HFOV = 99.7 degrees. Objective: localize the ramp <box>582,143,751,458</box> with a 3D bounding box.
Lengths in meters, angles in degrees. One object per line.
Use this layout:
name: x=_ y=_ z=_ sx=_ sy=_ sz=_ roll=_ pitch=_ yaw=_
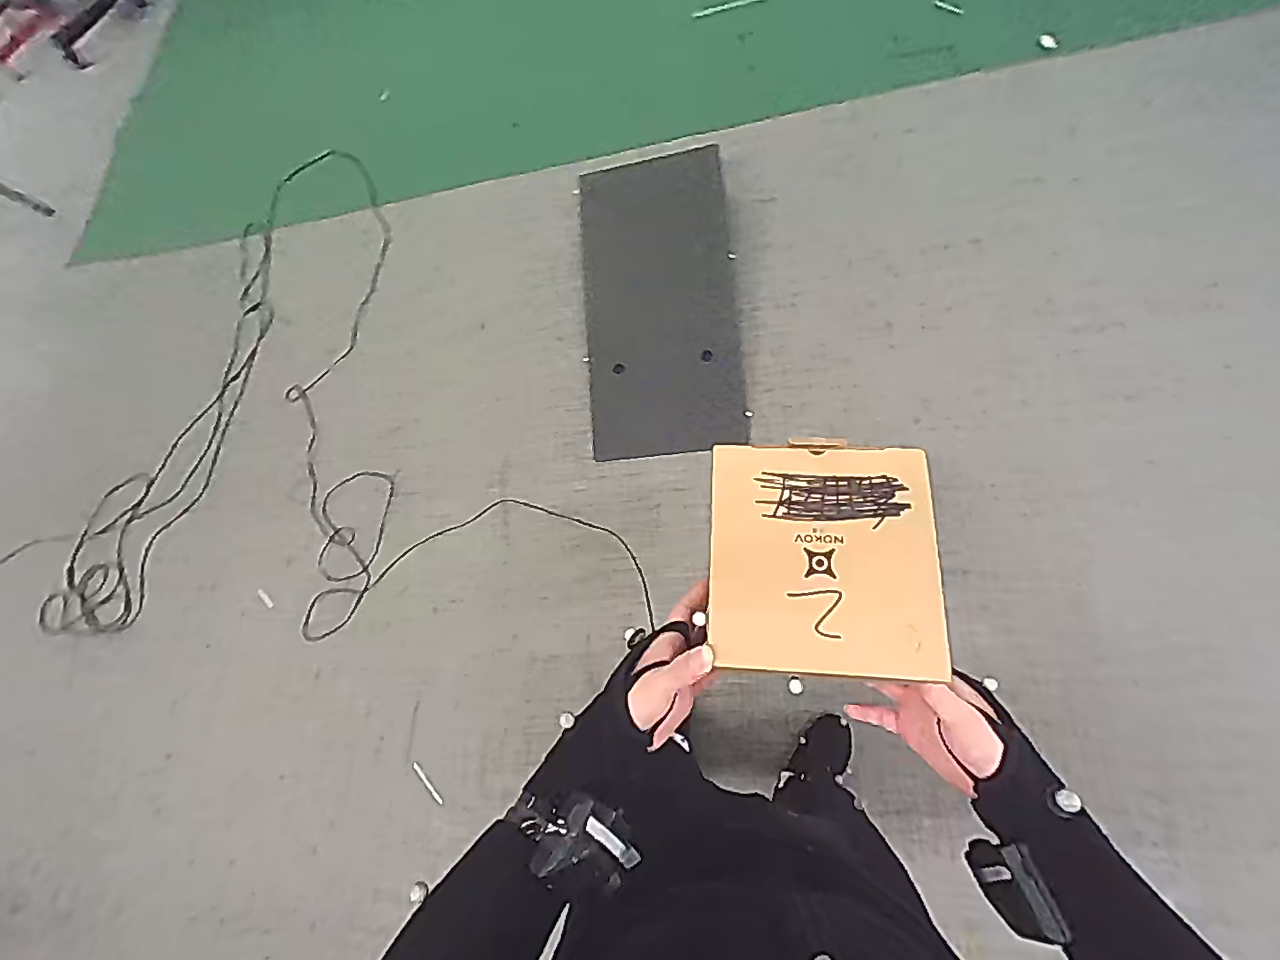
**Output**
ramp: x=0.071 y=-0.582 z=1.740 sx=0.509 sy=0.206 sz=0.991 roll=-7 pitch=71 yaw=11
